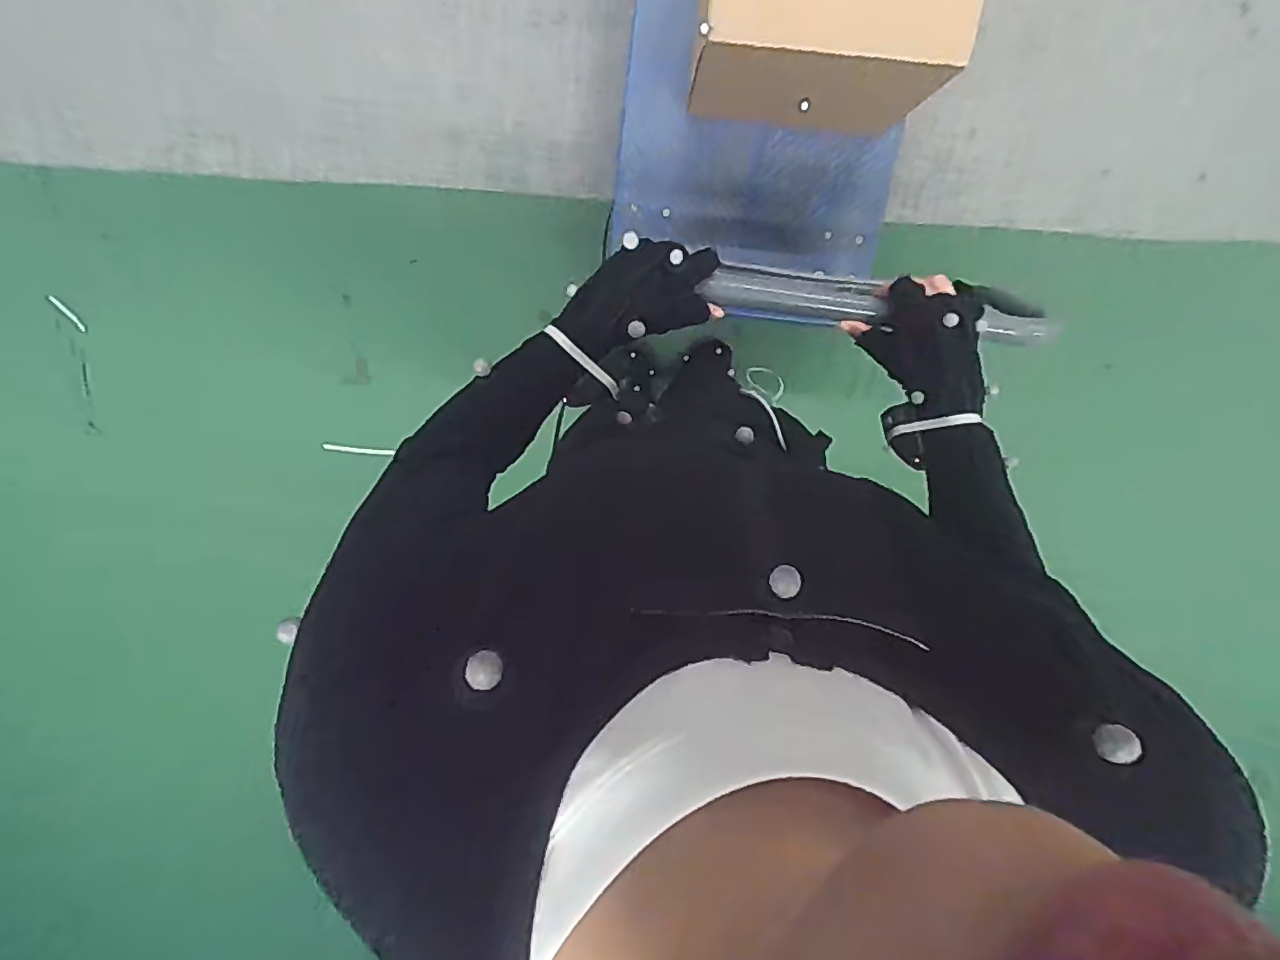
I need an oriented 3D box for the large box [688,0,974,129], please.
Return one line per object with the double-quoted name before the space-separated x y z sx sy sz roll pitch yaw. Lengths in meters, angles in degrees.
"large box" 0.308 -0.835 0.926 0.408 0.320 0.320 4 105 -1
